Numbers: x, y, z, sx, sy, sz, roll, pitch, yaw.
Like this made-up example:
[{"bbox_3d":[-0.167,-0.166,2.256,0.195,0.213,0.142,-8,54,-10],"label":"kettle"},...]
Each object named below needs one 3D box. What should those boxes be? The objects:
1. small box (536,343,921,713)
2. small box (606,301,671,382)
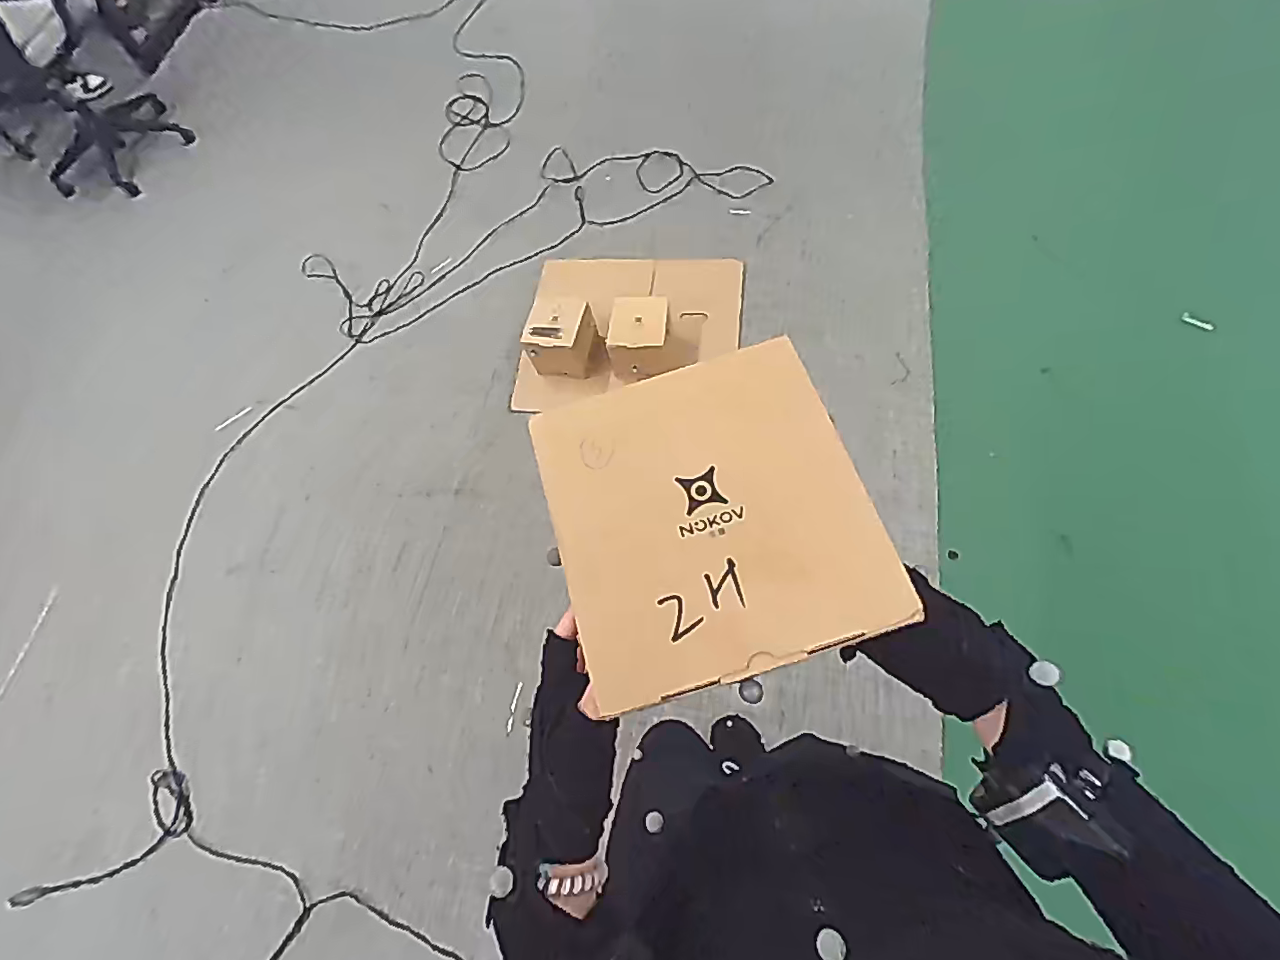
[{"bbox_3d":[0.045,0.045,0.365,0.168,0.176,0.179,-17,68,0],"label":"small box"},{"bbox_3d":[0.001,-0.417,1.629,0.168,0.176,0.179,2,68,9],"label":"small box"}]
